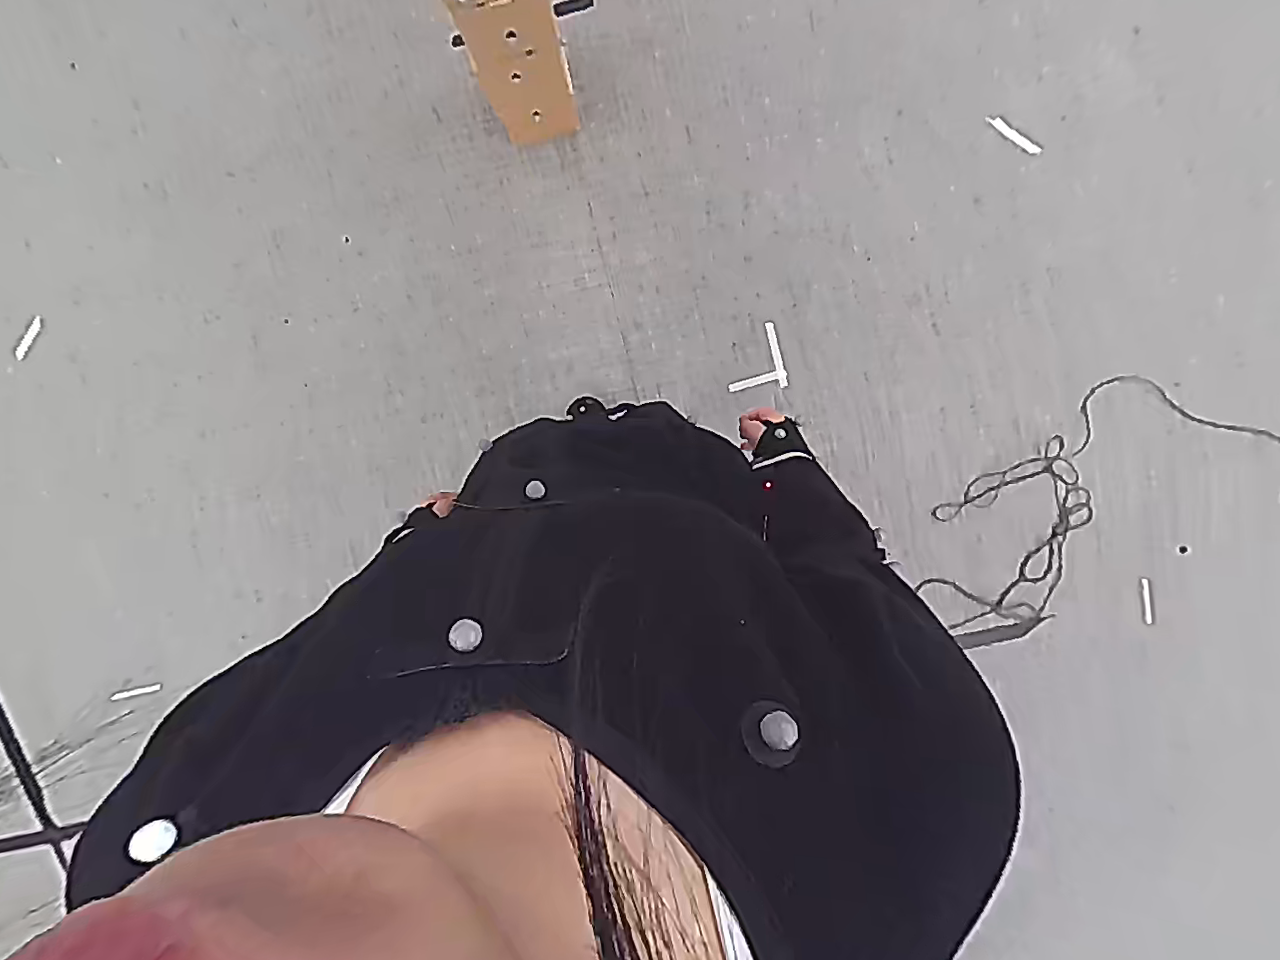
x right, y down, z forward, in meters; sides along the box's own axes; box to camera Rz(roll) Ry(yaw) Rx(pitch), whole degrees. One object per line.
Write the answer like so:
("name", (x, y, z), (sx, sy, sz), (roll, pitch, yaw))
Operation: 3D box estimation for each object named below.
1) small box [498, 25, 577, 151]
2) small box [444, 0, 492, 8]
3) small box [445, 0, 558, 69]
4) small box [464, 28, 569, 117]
("small box", (-0.251, -0.912, 1.271), (0.179, 0.176, 0.168), (-14, 99, 2))
("small box", (-0.252, -0.840, 0.785), (0.168, 0.176, 0.179), (-13, 98, 2))
("small box", (-0.249, -0.863, 0.948), (0.168, 0.176, 0.179), (-12, 99, 2))
("small box", (-0.257, -0.883, 1.110), (0.179, 0.176, 0.168), (-11, 99, 2))
